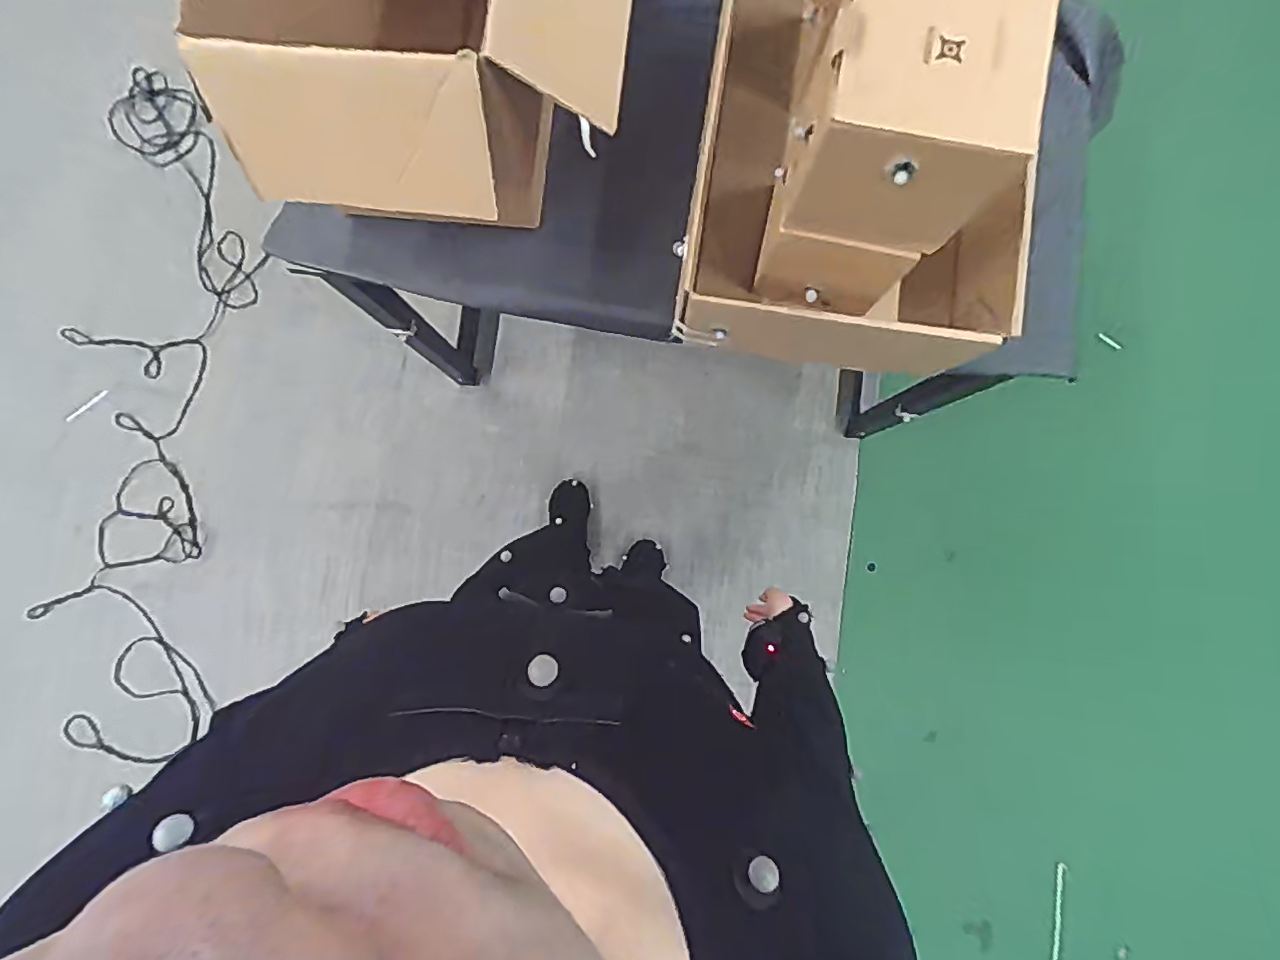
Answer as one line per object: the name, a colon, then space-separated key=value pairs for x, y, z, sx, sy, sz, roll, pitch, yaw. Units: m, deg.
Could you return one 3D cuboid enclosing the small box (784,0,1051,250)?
small box: x=0.260 y=-0.360 z=0.549 sx=0.179 sy=0.176 sz=0.168 roll=12 pitch=86 yaw=1
